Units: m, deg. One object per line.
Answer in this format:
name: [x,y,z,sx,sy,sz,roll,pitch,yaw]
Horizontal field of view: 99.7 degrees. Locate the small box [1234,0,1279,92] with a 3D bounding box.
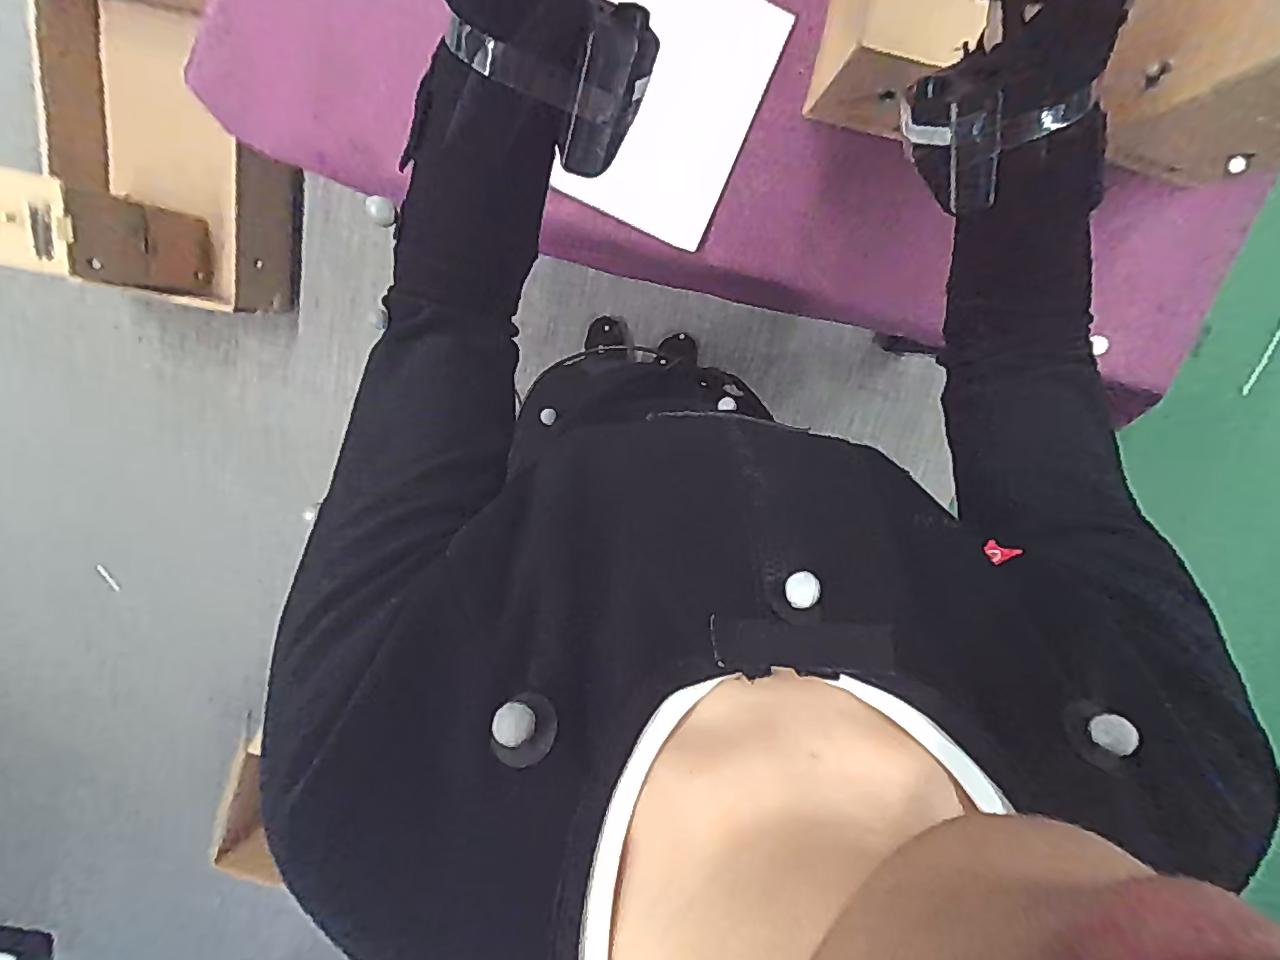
small box: [0.600,-0.383,0.377,0.168,0.176,0.179,14,106,-5]

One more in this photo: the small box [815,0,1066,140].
small box: [0.287,-0.464,0.526,0.168,0.176,0.179,12,104,-3]

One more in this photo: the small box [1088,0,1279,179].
small box: [0.606,-0.427,0.535,0.168,0.176,0.179,15,105,-4]
